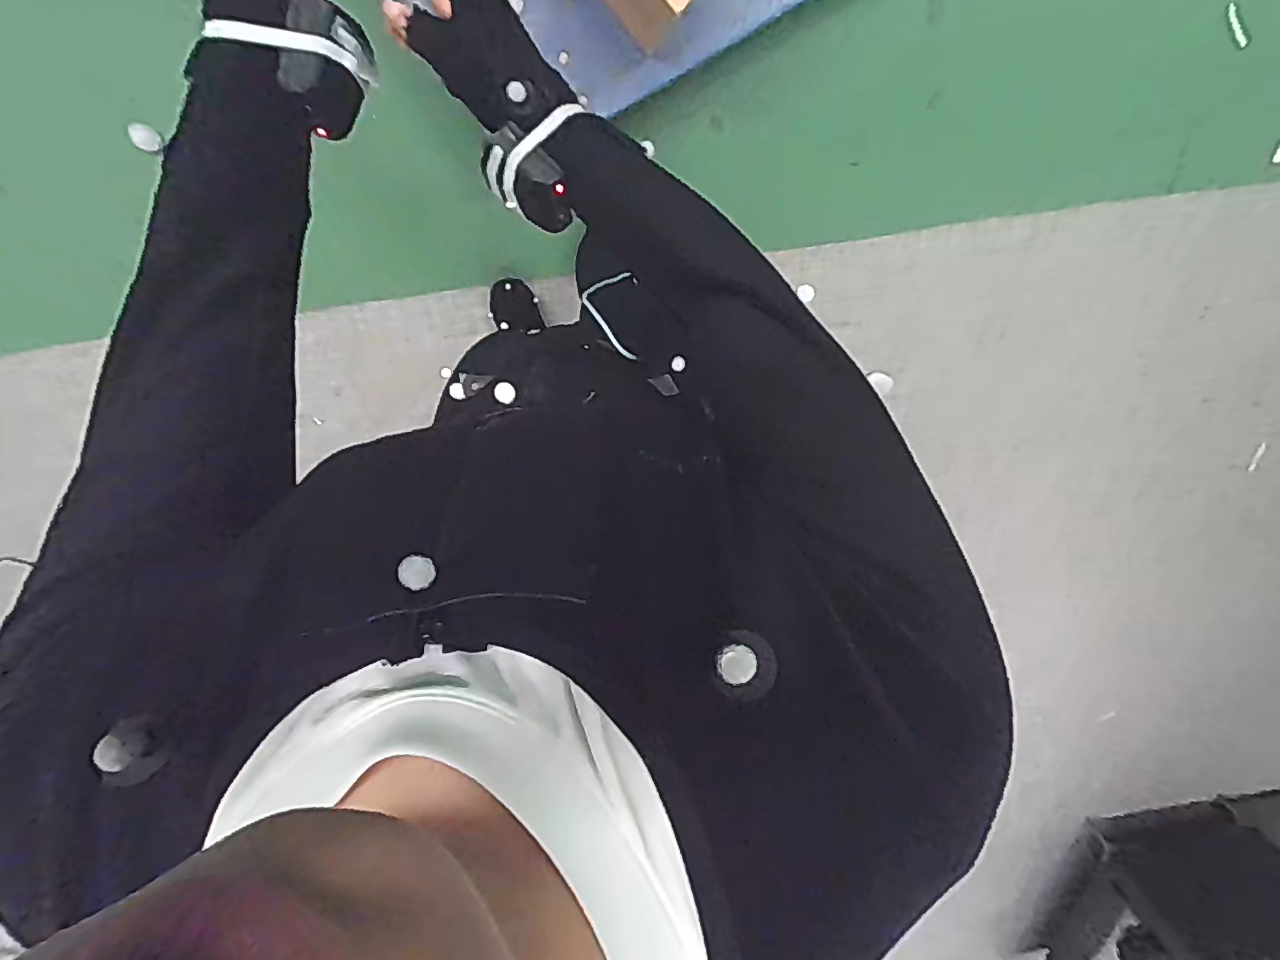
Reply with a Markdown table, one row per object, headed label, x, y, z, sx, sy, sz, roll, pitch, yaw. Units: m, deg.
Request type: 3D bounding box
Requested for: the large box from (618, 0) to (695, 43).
| label | x | y | z | sx | sy | sz | roll | pitch | yaw |
| --- | --- | --- | --- | --- | --- | --- | --- | --- | --- |
| large box | -0.002 | -0.904 | 0.710 | 0.408 | 0.320 | 0.320 | 37 | 110 | -23 |
